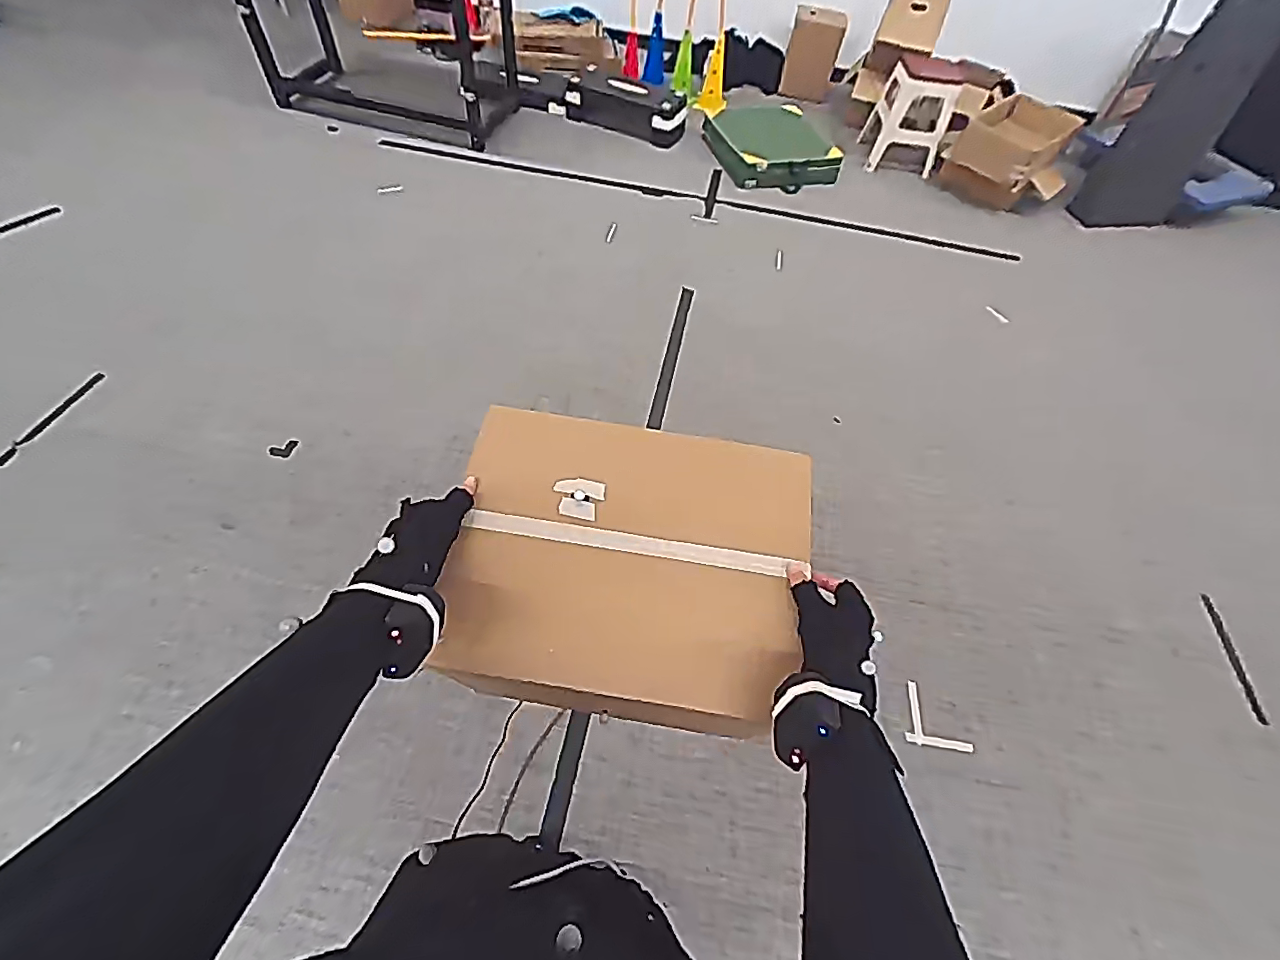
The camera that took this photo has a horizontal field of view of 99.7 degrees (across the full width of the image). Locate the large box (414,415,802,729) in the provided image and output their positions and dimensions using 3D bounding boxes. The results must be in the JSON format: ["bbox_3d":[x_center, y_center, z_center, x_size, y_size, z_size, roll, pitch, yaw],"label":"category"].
[{"bbox_3d":[-0.017,0.145,0.745,0.408,0.320,0.320,9,62,3],"label":"large box"}]
